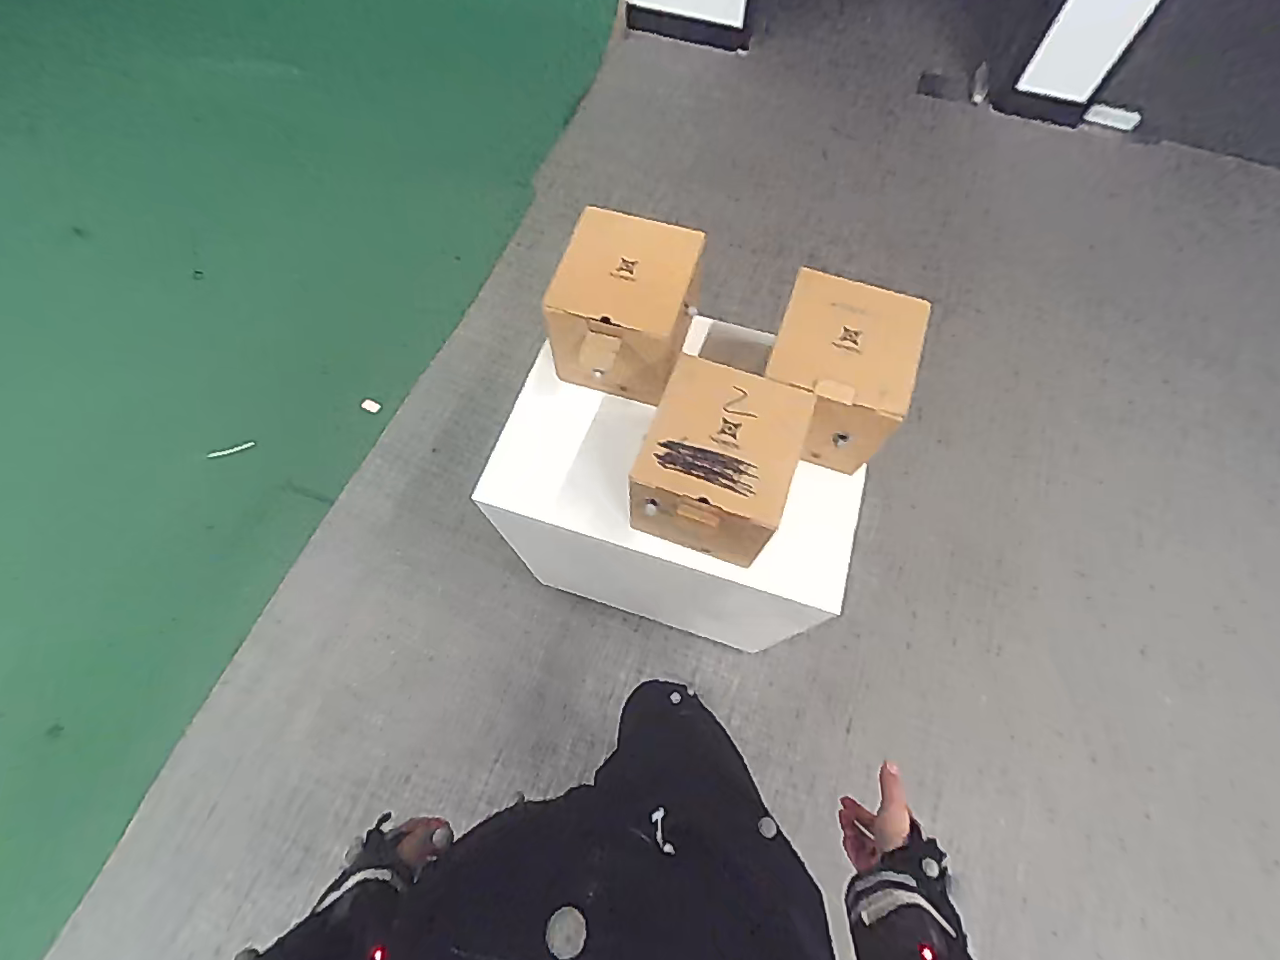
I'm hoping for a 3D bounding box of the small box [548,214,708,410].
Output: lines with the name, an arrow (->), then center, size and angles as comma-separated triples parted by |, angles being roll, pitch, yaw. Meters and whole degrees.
small box -> -0.014, -0.227, 0.757 | 0.168, 0.176, 0.179 | 16, 69, 6
